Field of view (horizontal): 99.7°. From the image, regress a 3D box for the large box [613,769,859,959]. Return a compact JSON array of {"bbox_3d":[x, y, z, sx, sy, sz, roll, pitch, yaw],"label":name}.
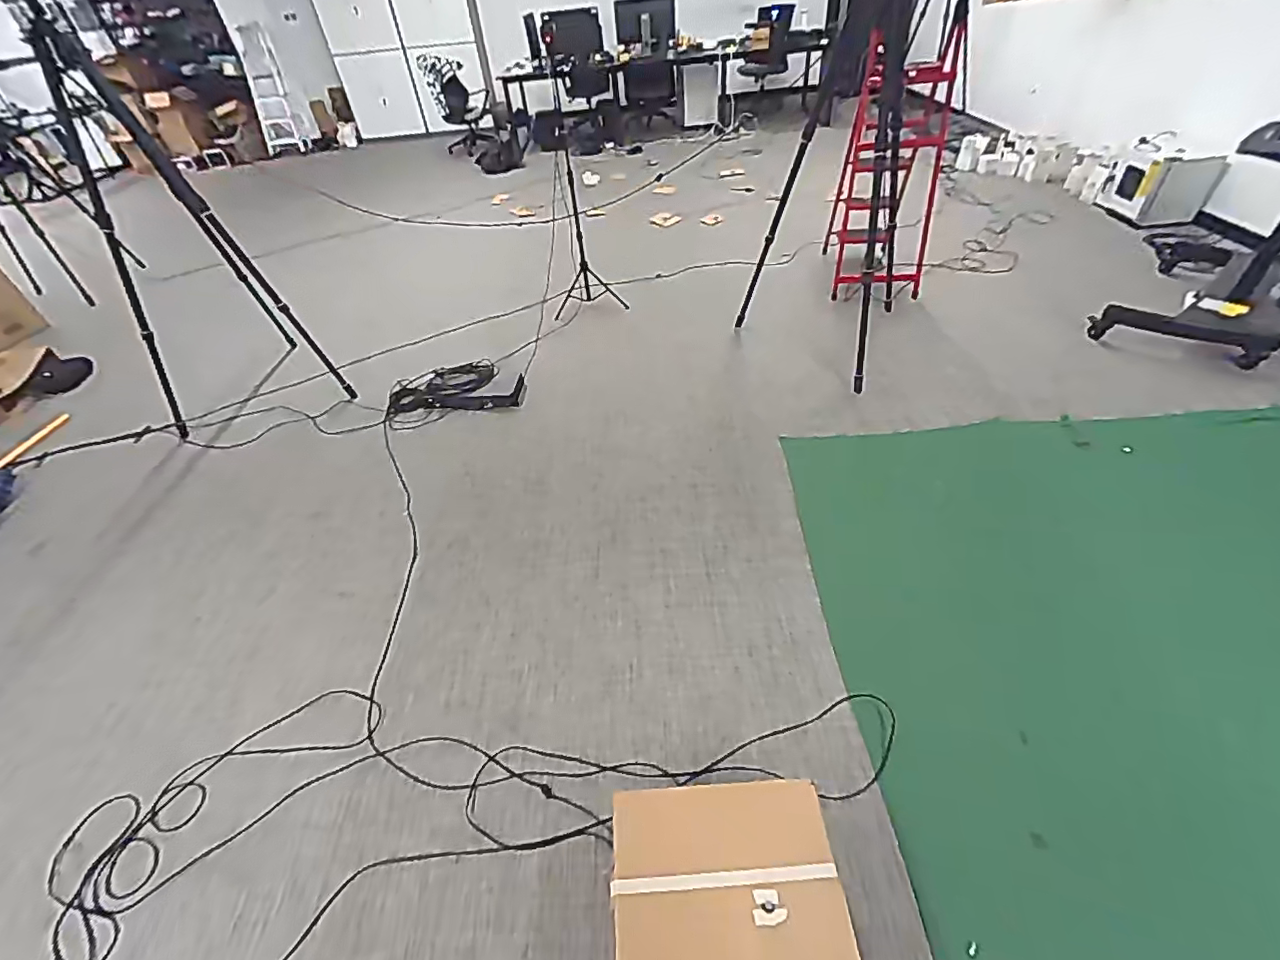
[{"bbox_3d":[0.158,0.814,1.083,0.408,0.320,0.320,-4,45,-1],"label":"large box"}]
